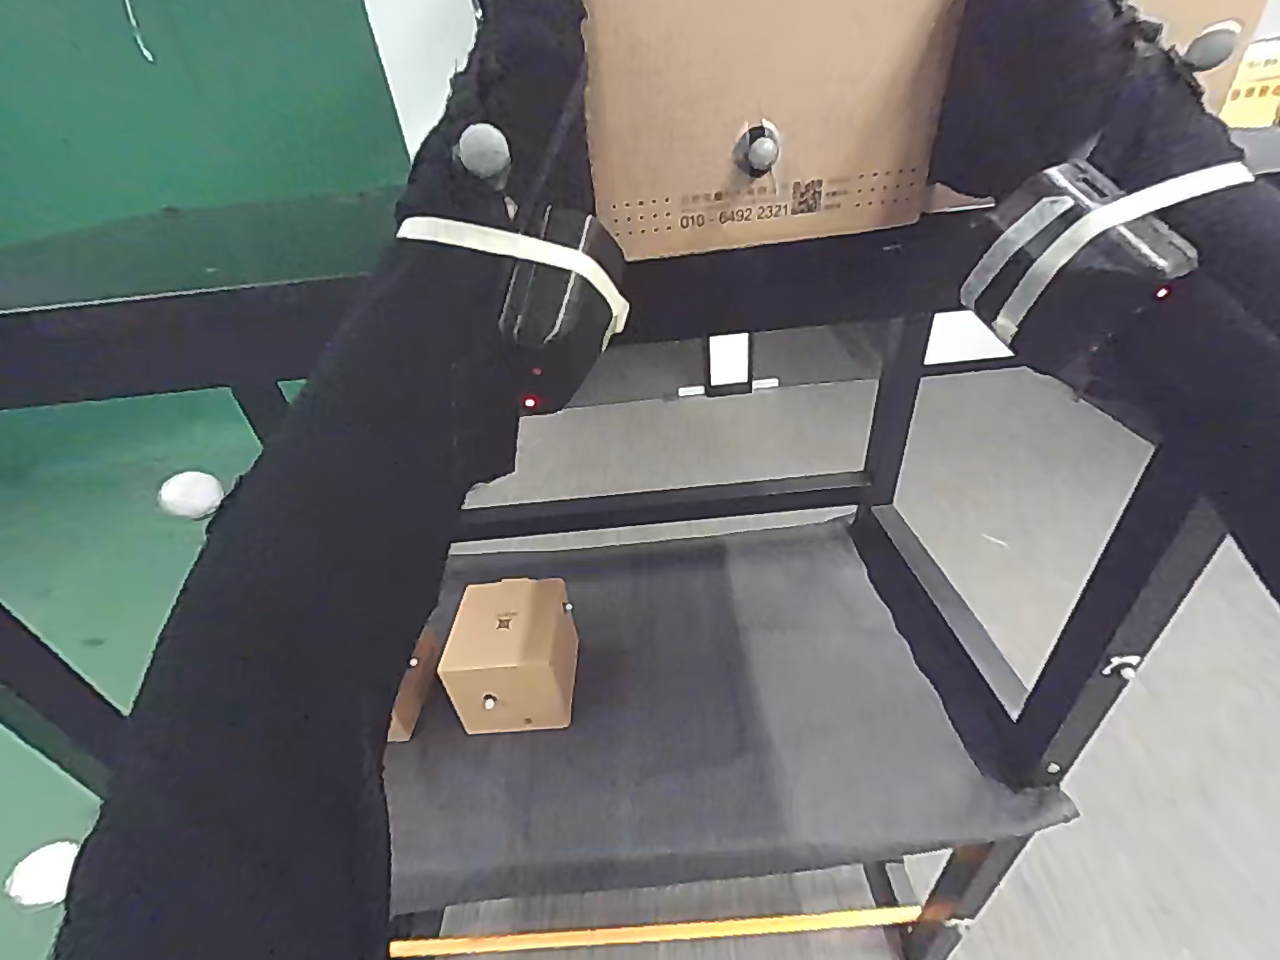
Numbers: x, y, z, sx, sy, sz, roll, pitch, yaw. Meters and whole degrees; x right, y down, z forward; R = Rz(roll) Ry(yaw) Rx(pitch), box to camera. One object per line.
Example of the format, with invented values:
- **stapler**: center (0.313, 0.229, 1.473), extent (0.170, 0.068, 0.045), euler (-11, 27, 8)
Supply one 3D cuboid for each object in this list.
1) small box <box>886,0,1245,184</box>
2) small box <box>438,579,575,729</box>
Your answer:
- **small box**: center (0.293, -0.324, 0.397), extent (0.168, 0.176, 0.179), euler (1, 35, 11)
- **small box**: center (-0.205, 0.289, 0.888), extent (0.168, 0.176, 0.179), euler (-5, 34, 2)
